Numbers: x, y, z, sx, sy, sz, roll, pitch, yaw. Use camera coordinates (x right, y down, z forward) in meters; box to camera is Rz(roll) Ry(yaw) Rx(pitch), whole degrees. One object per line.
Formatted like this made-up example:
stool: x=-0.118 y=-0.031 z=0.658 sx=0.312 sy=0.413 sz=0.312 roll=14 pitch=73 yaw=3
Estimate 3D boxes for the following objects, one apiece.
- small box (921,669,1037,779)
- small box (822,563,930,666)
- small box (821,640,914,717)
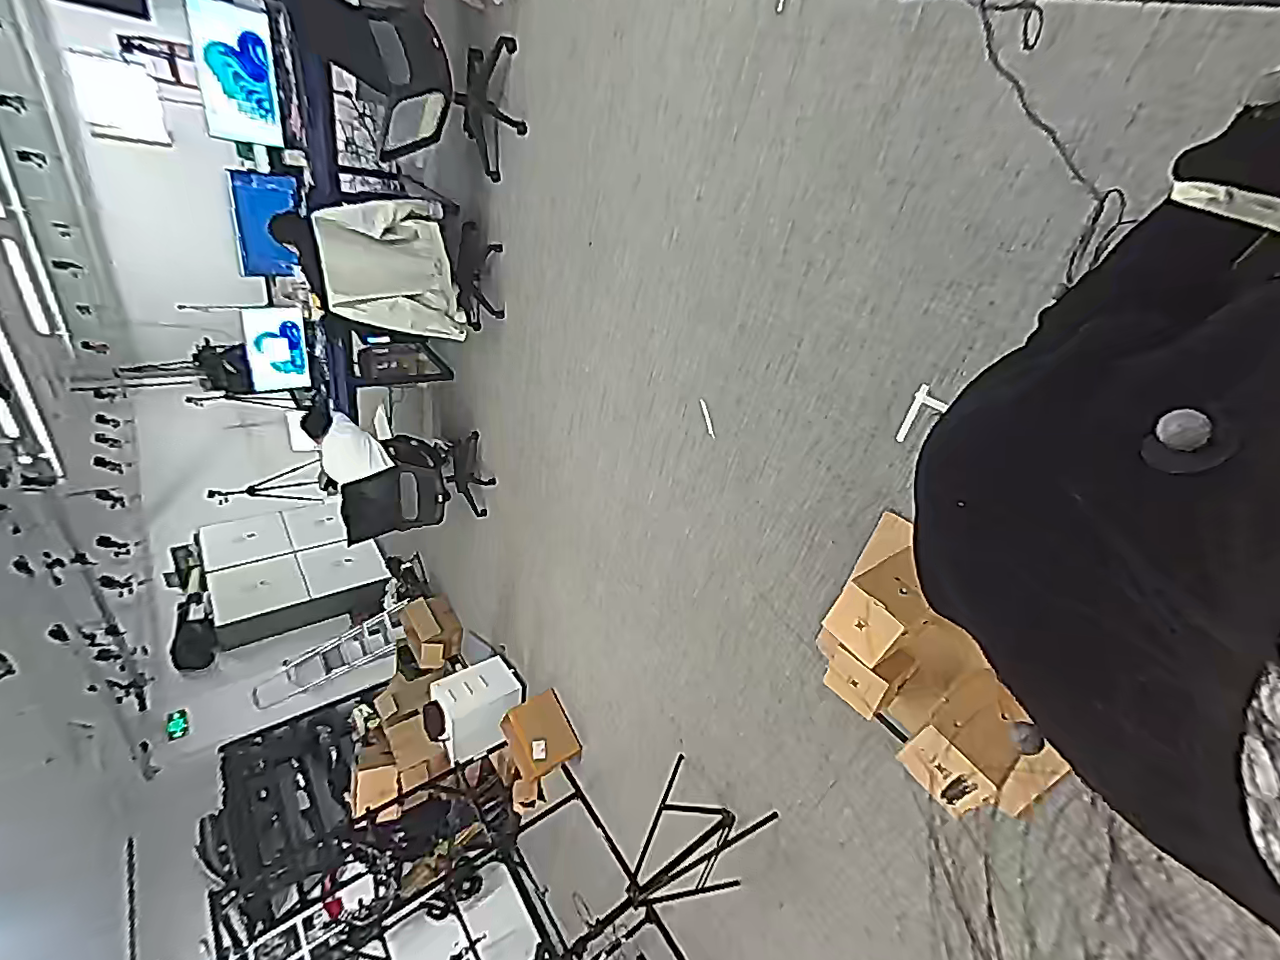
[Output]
small box: x=0.900 y=0.639 z=1.431 sx=0.179 sy=0.176 sz=0.168 roll=48 pitch=134 yaw=29
small box: x=0.622 y=0.348 z=1.424 sx=0.168 sy=0.176 sz=0.179 roll=45 pitch=132 yaw=34
small box: x=0.702 y=0.585 z=1.671 sx=0.179 sy=0.176 sz=0.168 roll=37 pitch=130 yaw=40
